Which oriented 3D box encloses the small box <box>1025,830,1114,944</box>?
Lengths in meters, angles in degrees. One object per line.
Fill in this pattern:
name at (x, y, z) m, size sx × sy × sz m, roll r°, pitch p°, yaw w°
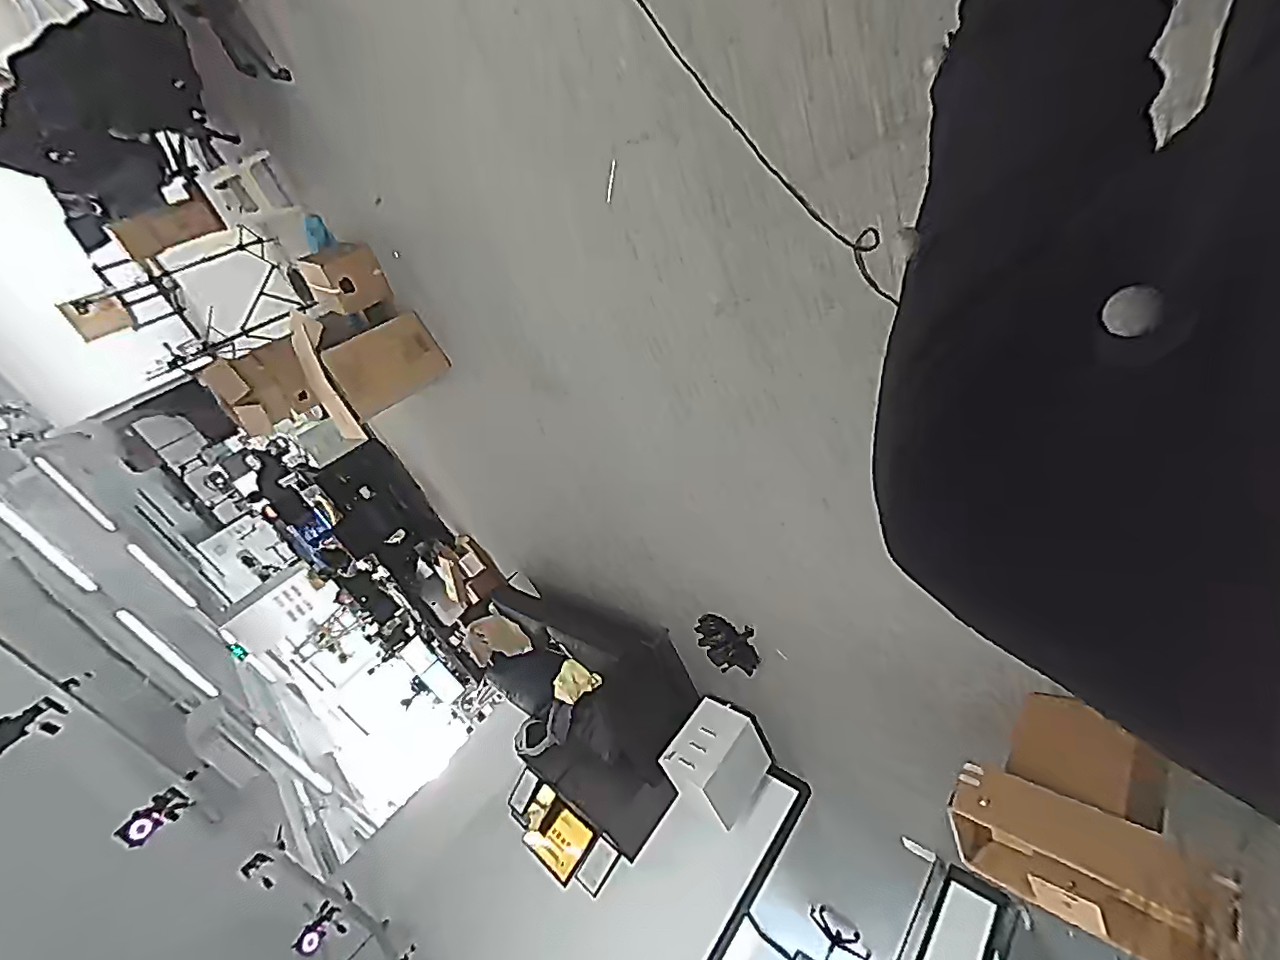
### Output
small box at (1.254, 1.175, 1.573) m, size 0.168 × 0.176 × 0.179 m, roll -3°, pitch 124°, yaw 50°
